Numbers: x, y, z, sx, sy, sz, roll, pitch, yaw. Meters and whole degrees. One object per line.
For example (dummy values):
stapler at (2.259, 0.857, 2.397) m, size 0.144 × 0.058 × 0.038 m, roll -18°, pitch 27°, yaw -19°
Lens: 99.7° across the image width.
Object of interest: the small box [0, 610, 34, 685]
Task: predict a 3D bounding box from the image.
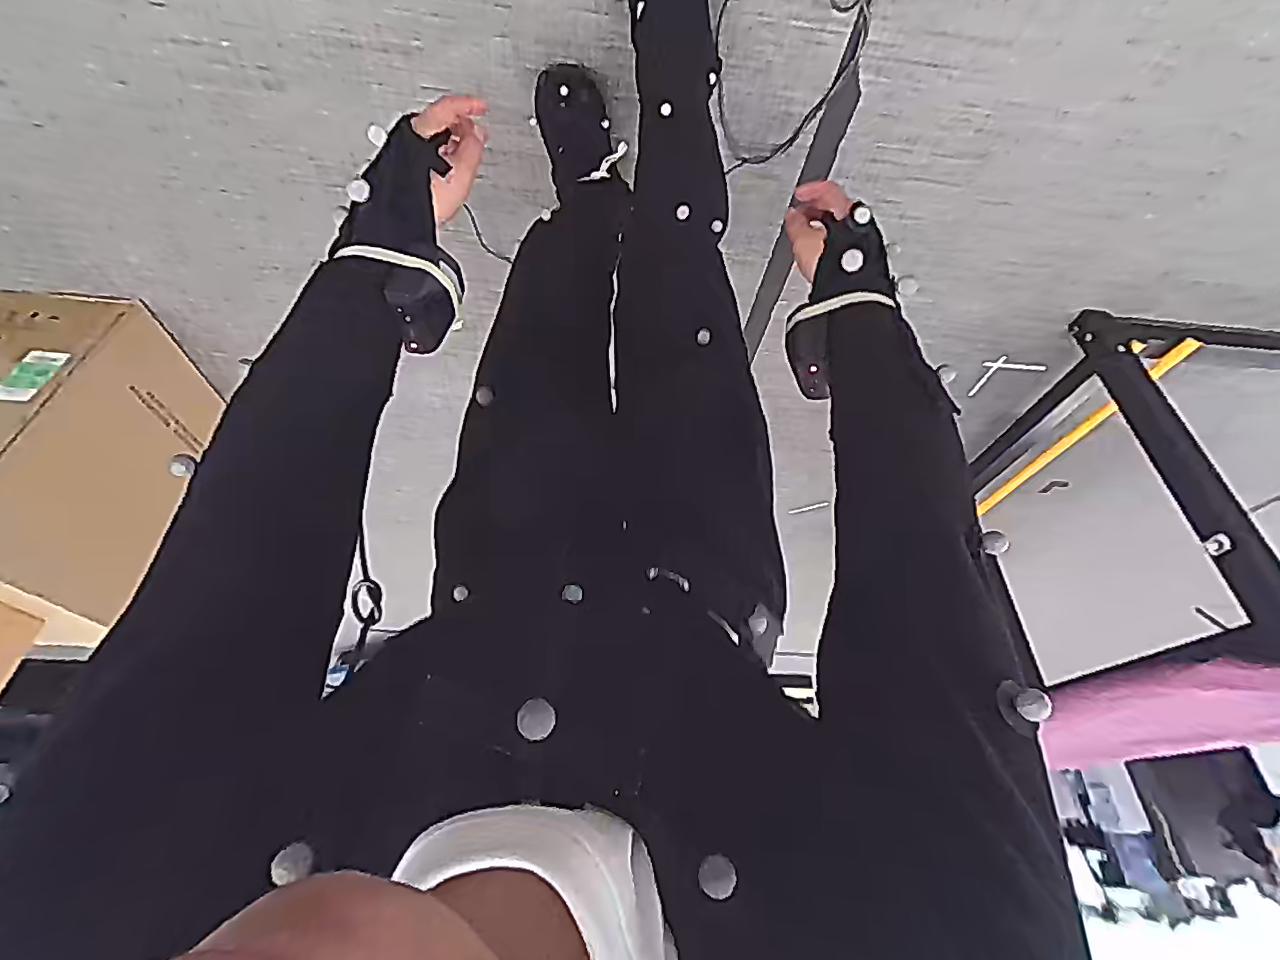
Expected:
small box at (-1.318, 0.314, 0.999) m, size 0.168 × 0.176 × 0.179 m, roll 6°, pitch 147°, yaw -7°
